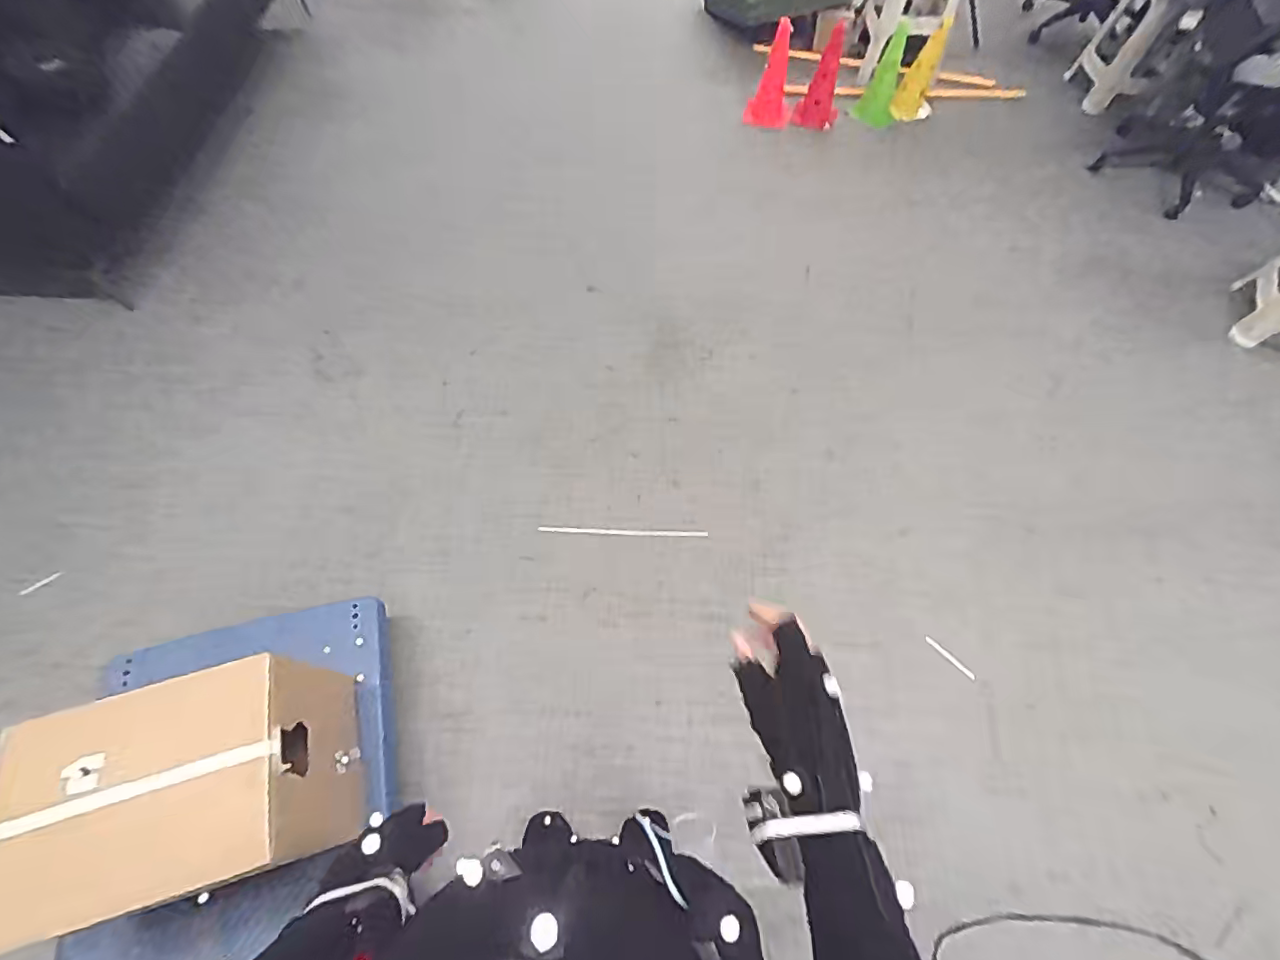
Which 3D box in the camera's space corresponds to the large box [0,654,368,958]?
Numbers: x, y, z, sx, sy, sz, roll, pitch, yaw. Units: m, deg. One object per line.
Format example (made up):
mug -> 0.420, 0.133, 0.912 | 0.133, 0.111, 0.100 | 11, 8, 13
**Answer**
large box -> -0.763, 0.544, 0.959 | 0.408, 0.320, 0.320 | -15, 63, -8
